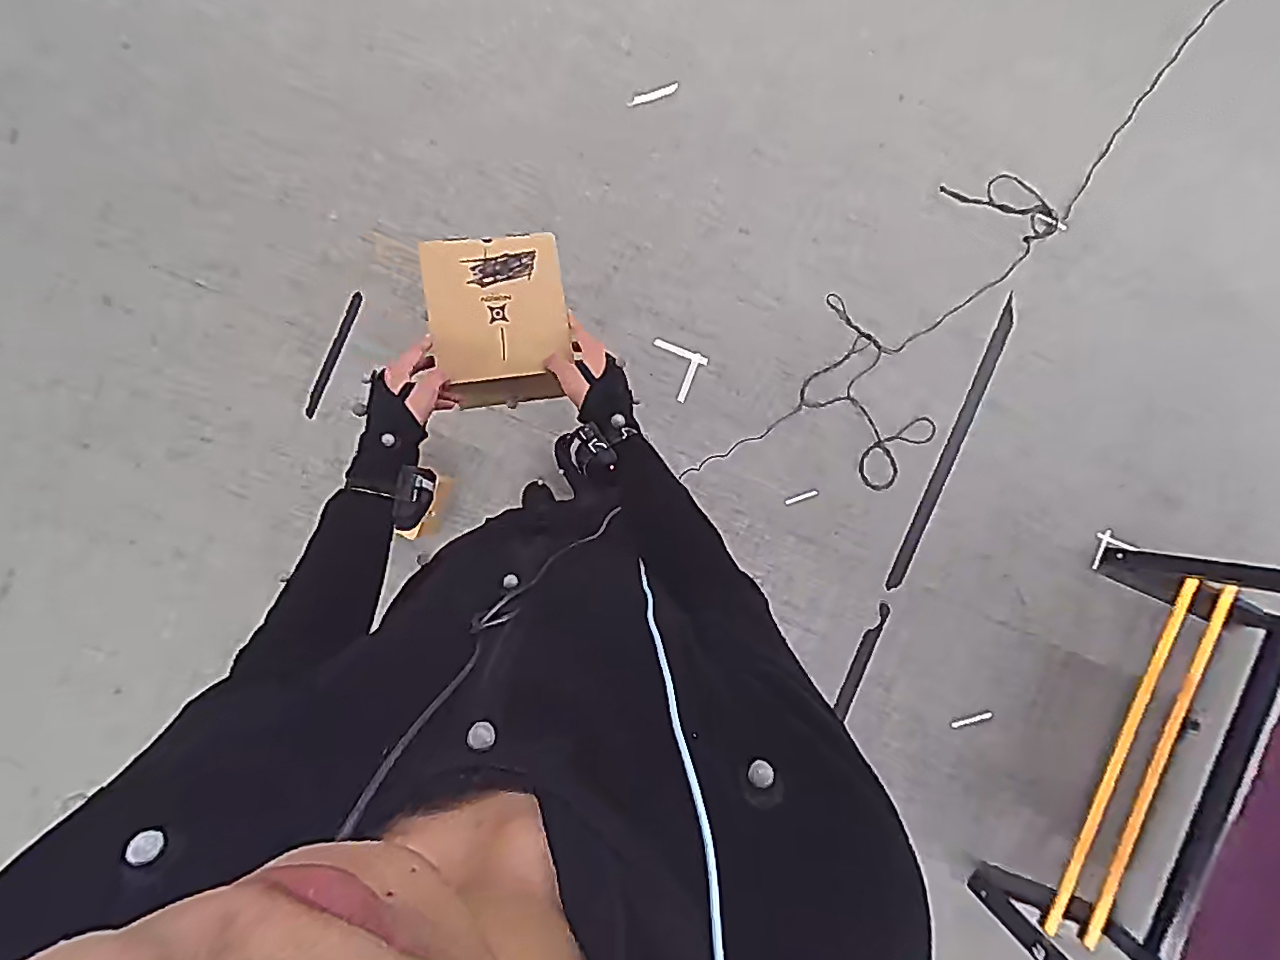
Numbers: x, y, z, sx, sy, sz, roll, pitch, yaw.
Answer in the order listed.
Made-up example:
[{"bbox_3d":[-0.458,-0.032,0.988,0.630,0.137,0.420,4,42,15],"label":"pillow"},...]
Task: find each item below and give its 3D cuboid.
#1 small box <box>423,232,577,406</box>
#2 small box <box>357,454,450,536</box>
[{"bbox_3d":[-0.182,-0.207,0.729,0.168,0.176,0.179,-8,90,-9],"label":"small box"},{"bbox_3d":[-0.651,0.039,1.516,0.168,0.176,0.179,22,90,-5],"label":"small box"}]
